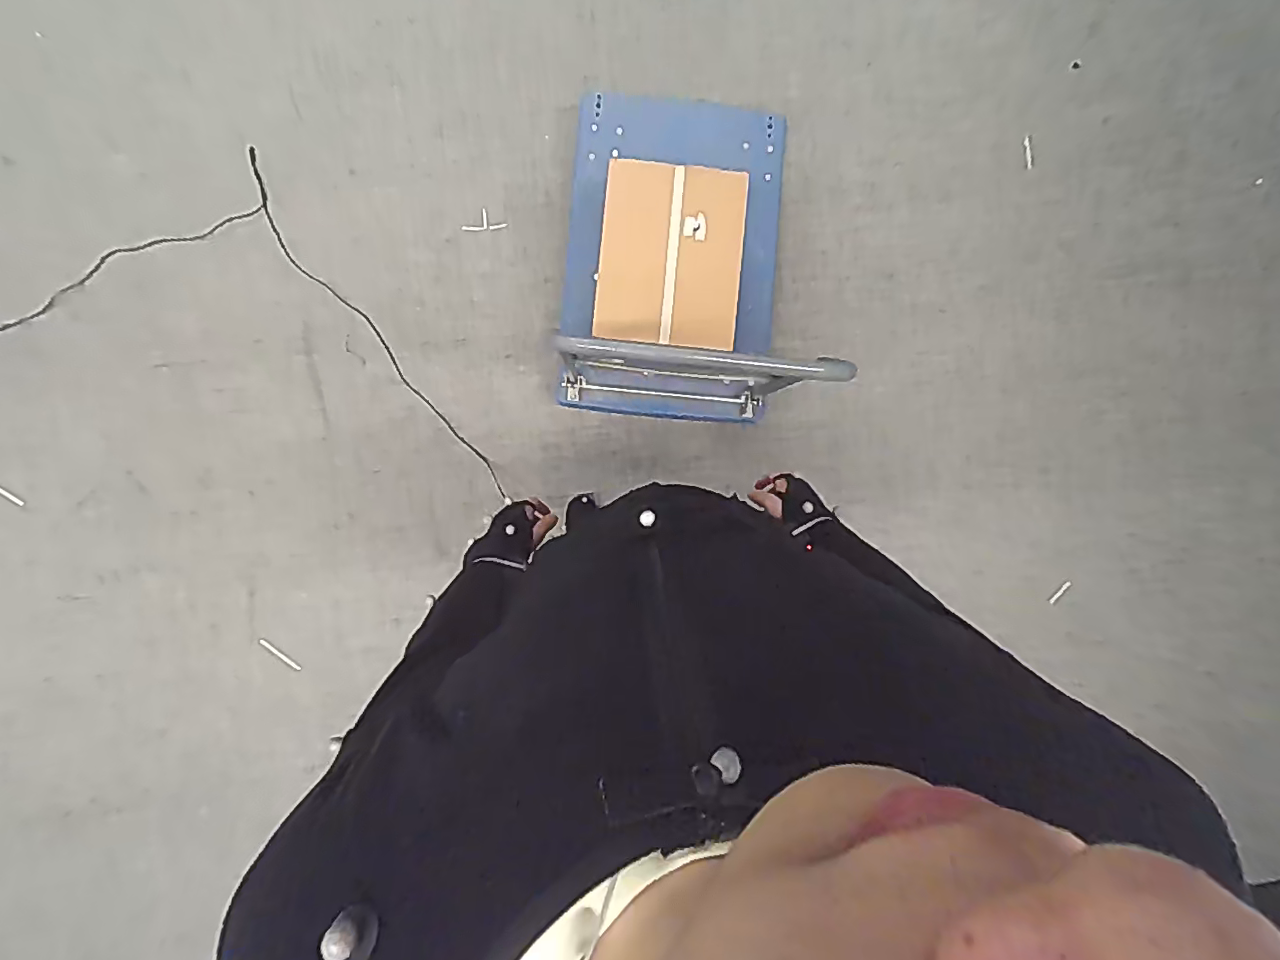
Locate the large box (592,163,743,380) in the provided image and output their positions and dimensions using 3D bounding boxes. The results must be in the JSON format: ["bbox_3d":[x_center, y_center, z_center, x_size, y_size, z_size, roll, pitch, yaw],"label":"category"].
[{"bbox_3d":[0.057,-0.487,1.342,0.320,0.320,0.408,6,87,-3],"label":"large box"}]
